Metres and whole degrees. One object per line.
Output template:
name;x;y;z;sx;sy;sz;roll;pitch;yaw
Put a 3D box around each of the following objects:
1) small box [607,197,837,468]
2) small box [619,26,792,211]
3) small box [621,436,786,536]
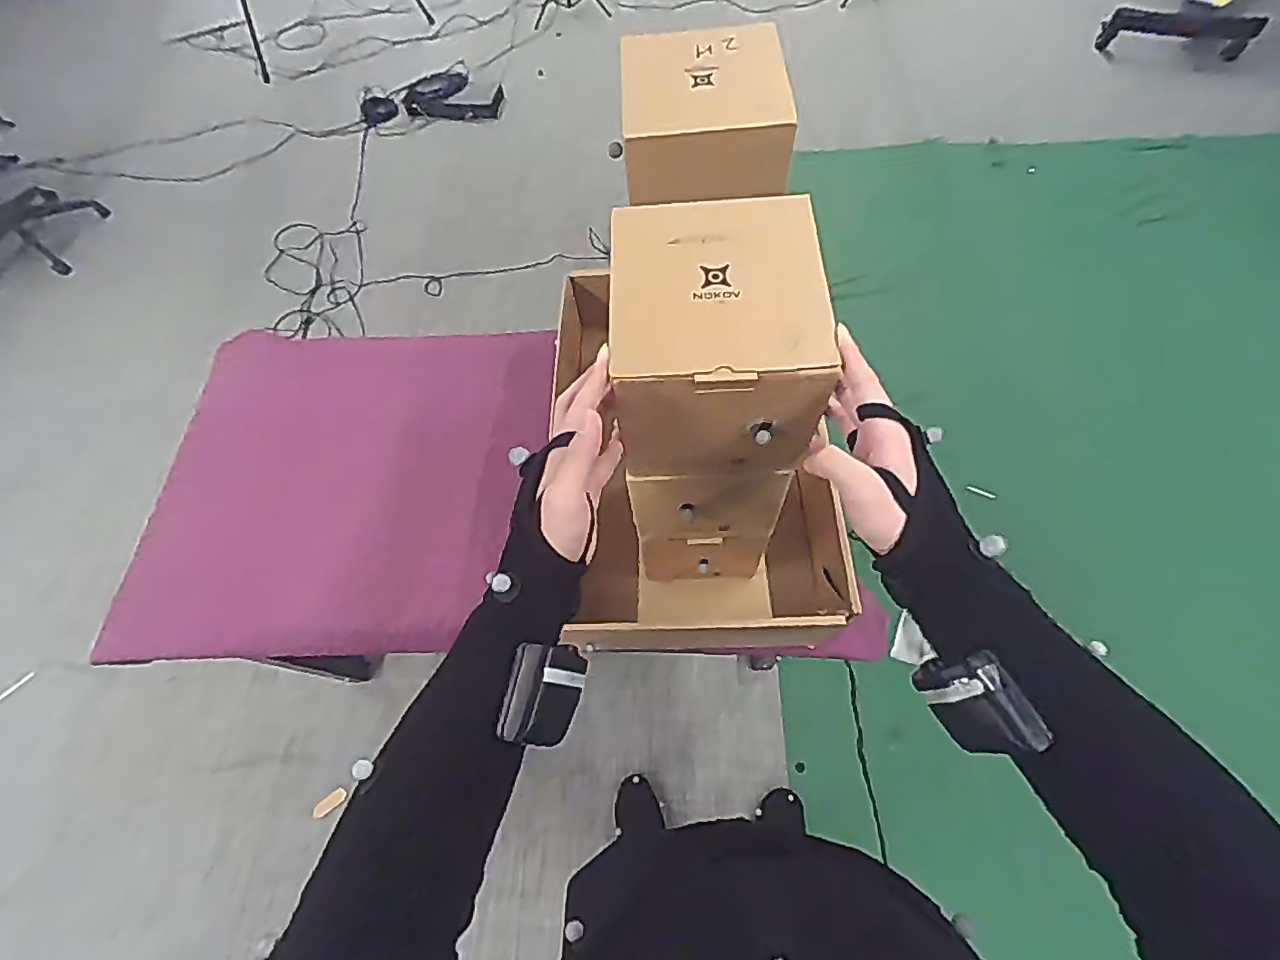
small box;0.063;-0.117;0.487;0.168;0.176;0.179;-2;66;3
small box;0.067;-0.363;0.612;0.168;0.176;0.179;-2;64;3
small box;0.070;-0.039;0.638;0.168;0.176;0.179;-3;62;4
